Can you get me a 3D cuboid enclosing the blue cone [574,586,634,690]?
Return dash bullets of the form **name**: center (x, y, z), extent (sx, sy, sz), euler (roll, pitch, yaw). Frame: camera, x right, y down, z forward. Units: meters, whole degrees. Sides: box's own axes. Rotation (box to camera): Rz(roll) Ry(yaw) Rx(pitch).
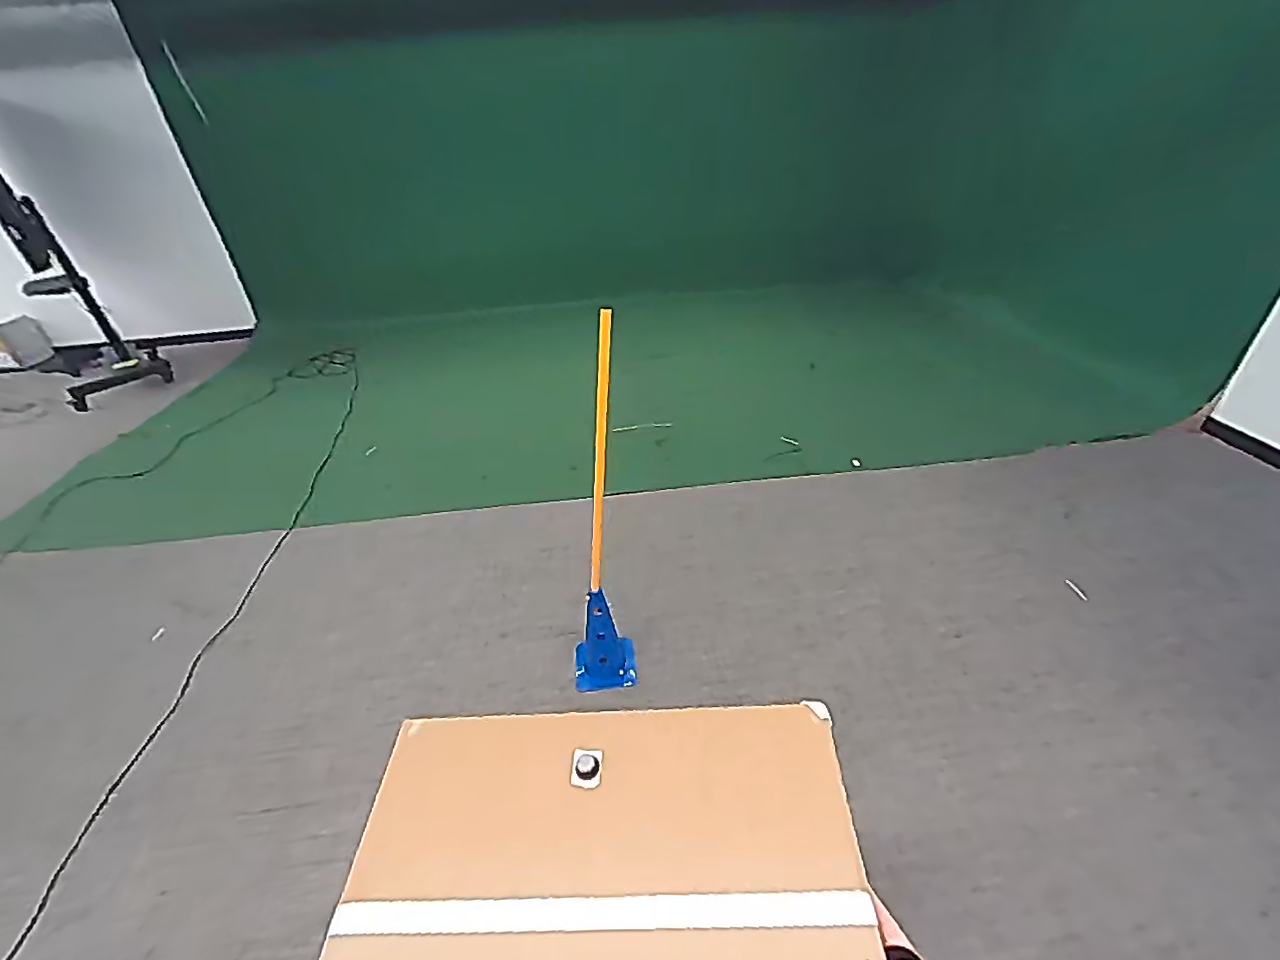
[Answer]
- **blue cone**: center (-0.128, 0.480, 1.731), extent (0.193, 0.380, 0.192), euler (-6, 34, -6)
